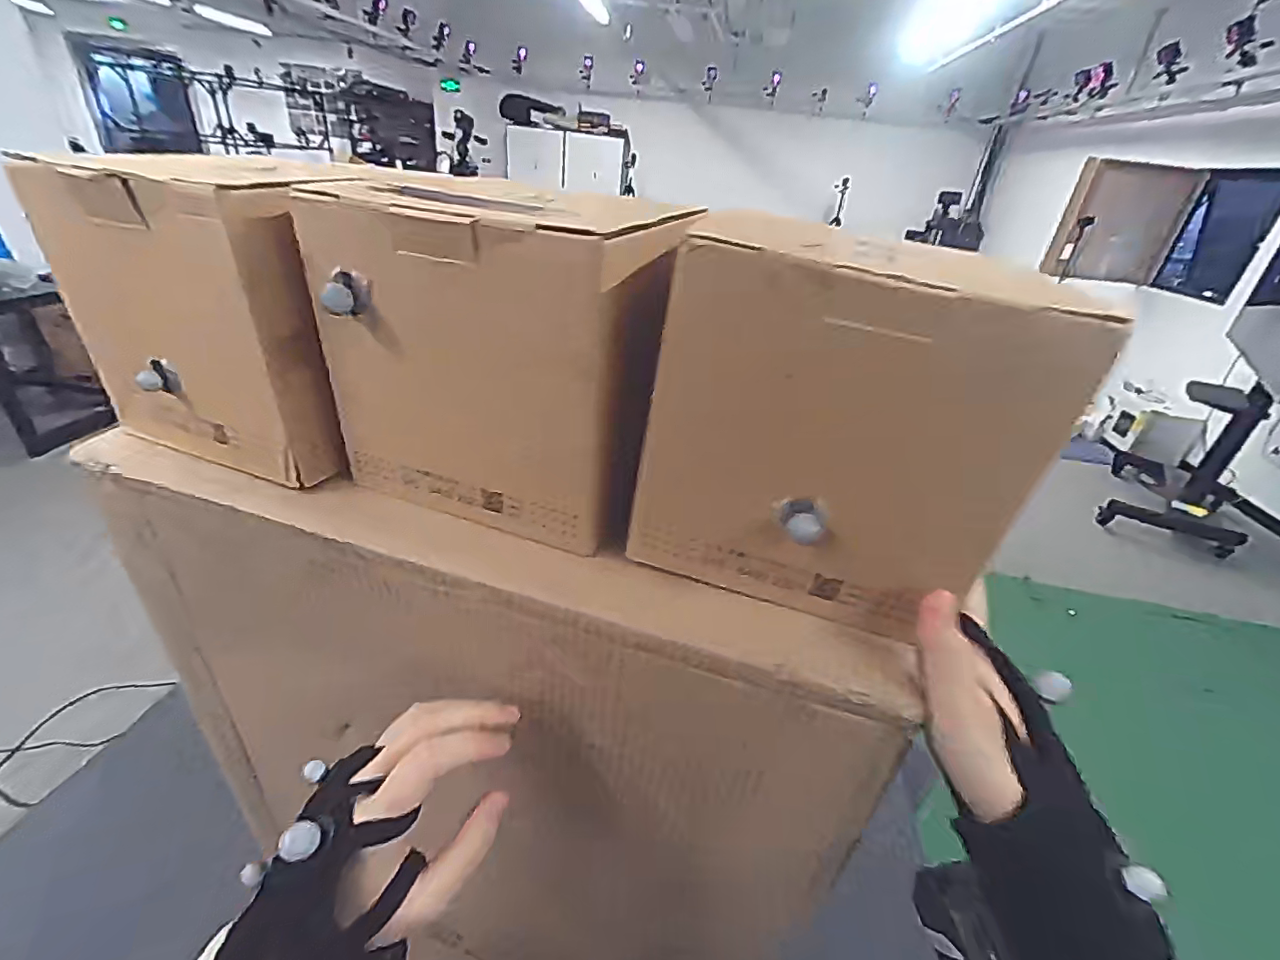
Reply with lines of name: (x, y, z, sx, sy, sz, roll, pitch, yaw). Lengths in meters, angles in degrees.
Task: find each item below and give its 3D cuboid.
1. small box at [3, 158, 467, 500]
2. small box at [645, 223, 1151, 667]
small box: (-0.237, -0.113, 0.372, 0.168, 0.176, 0.179, 15, 34, 15)
small box: (0.108, -0.033, 0.308, 0.168, 0.176, 0.179, 15, 33, 9)
